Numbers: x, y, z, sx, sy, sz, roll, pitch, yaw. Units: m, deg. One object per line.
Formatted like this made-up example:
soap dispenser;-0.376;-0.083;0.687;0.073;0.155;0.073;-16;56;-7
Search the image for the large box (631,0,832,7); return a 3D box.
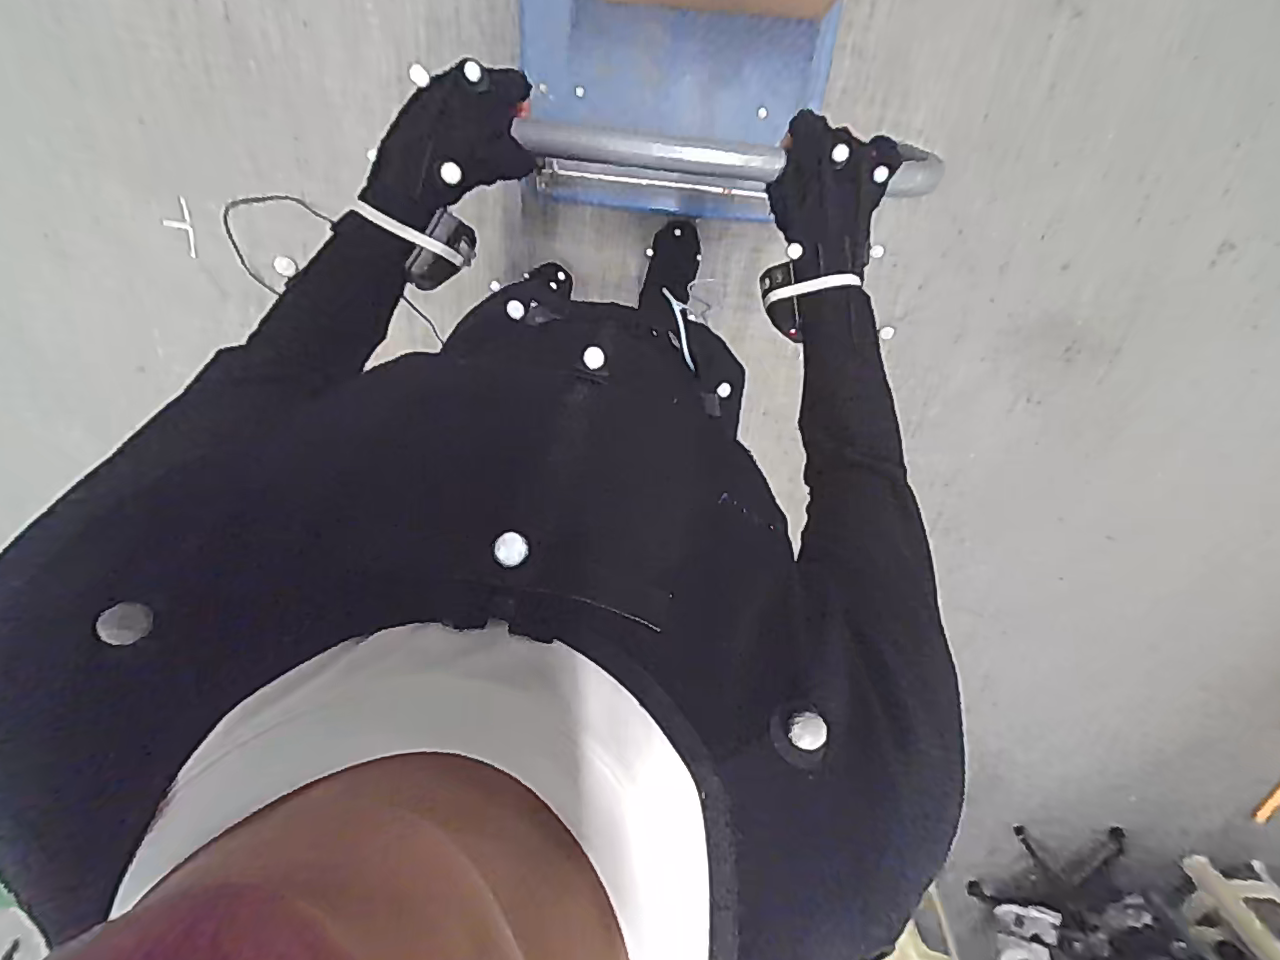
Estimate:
large box;0.146;-0.932;0.782;0.408;0.320;0.320;3;115;0
